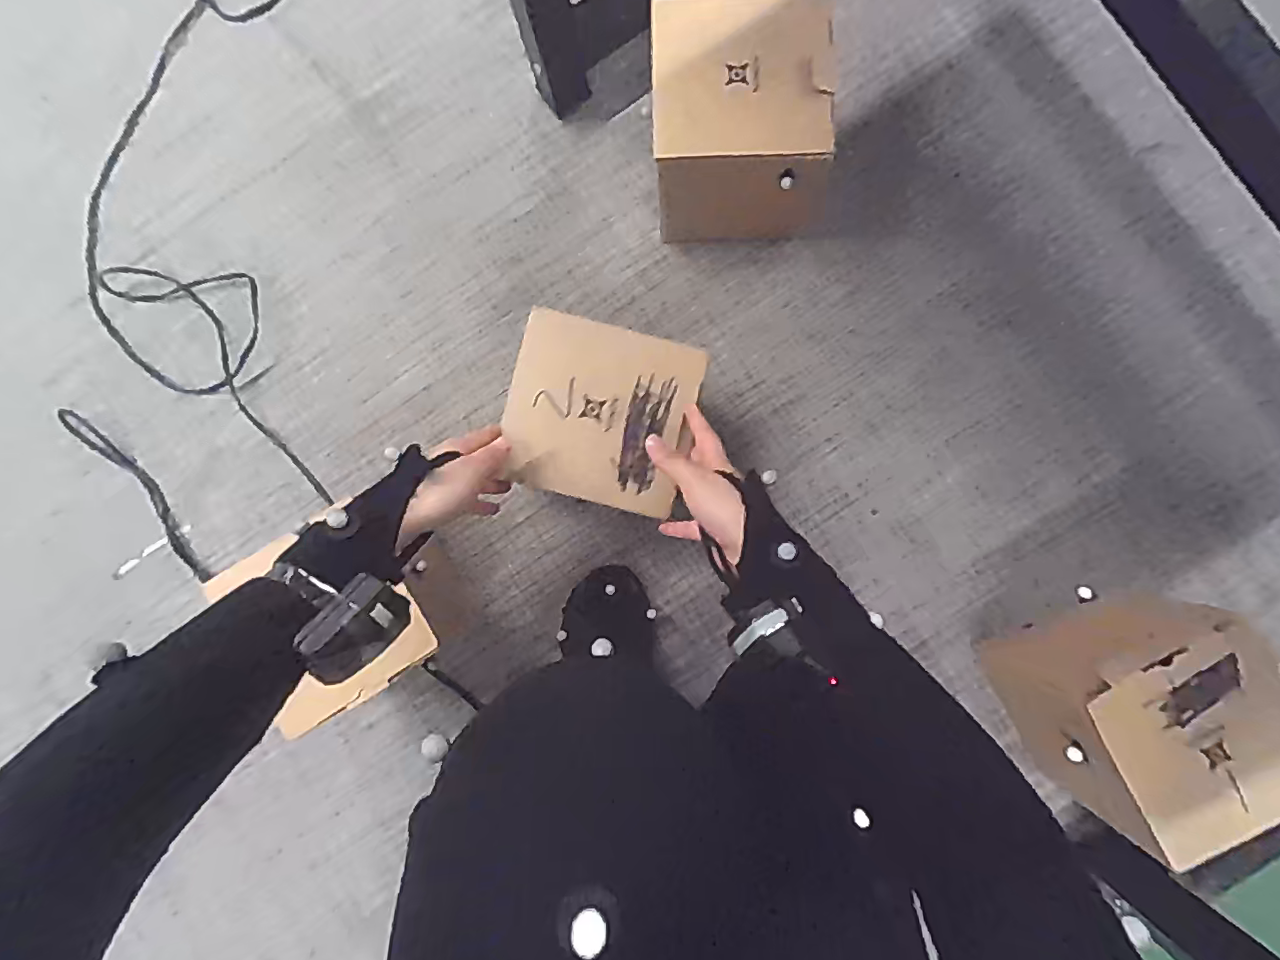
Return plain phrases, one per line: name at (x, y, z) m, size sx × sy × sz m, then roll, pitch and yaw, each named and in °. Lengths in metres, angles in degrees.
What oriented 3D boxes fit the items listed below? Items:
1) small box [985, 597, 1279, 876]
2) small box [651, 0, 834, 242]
small box at (0.501, 0.232, 0.548) m, size 0.168 × 0.176 × 0.179 m, roll -28°, pitch 87°, yaw 2°
small box at (0.103, -0.384, 0.605) m, size 0.179 × 0.176 × 0.168 m, roll -1°, pitch 87°, yaw 2°
